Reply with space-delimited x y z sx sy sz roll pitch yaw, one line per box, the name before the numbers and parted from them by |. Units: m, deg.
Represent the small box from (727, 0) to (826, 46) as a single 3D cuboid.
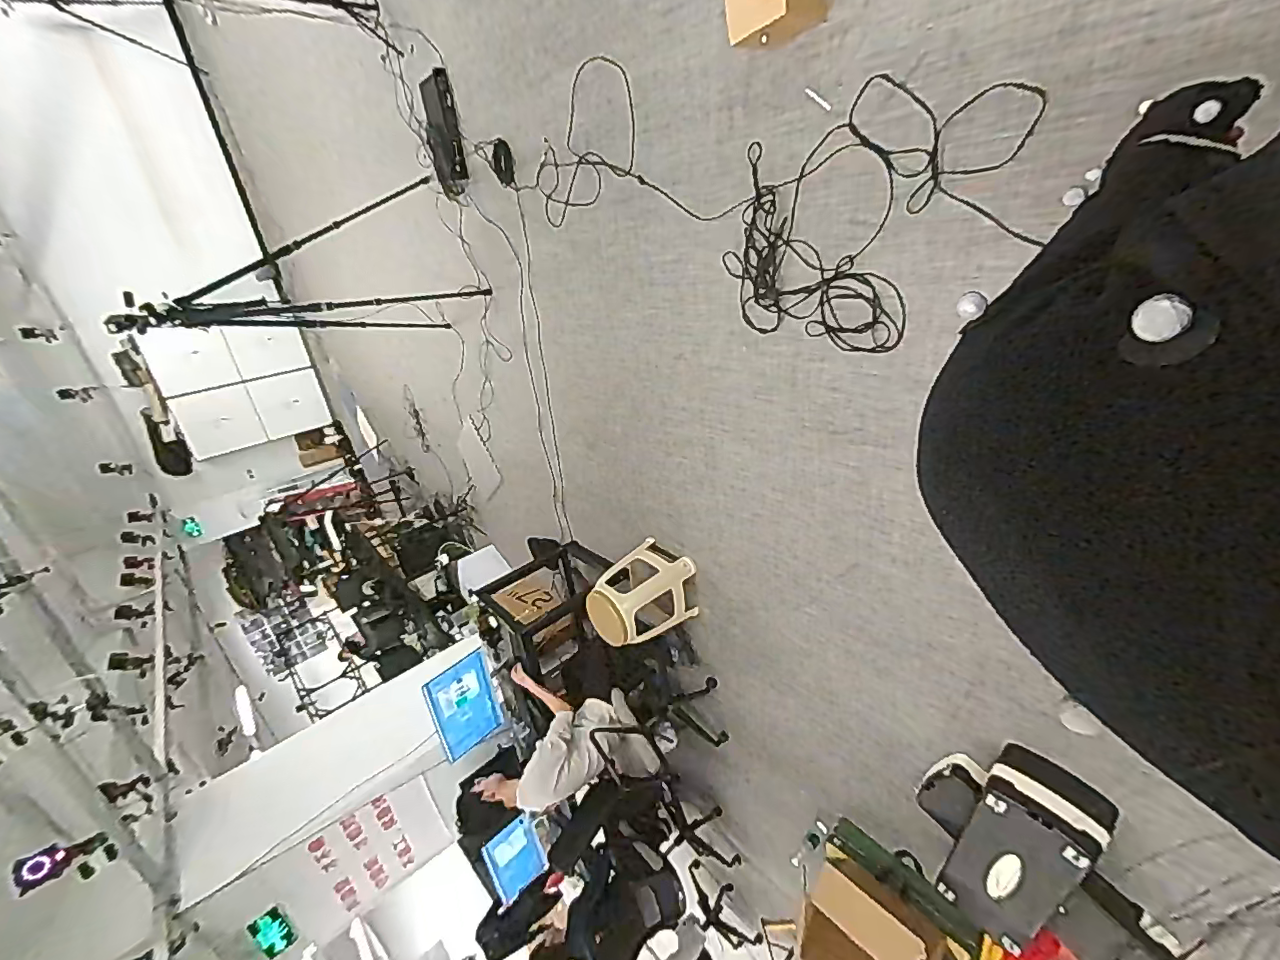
small box | 0.331 -1.197 1.324 0.179 0.176 0.168 13 123 49
